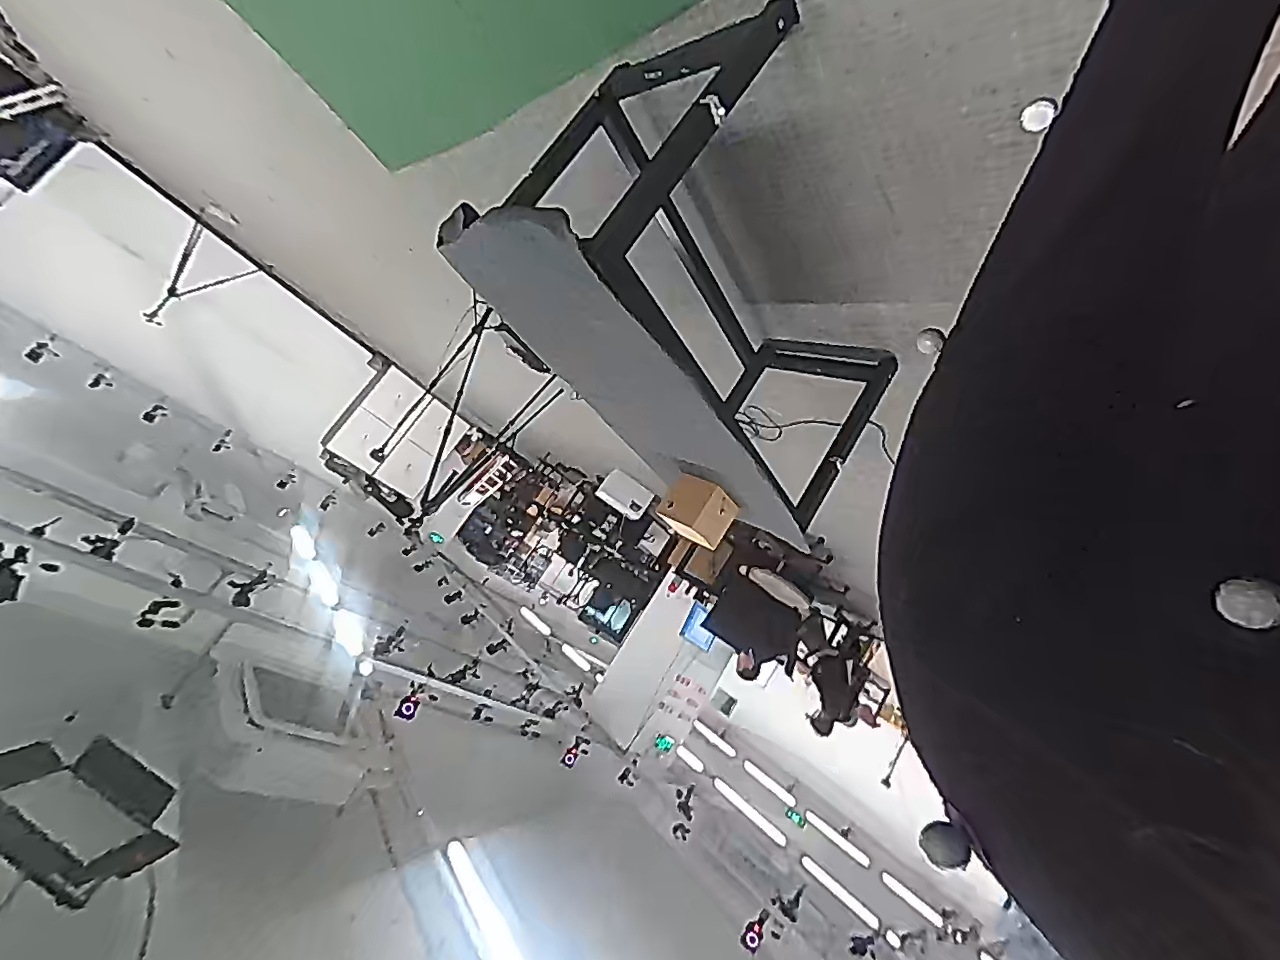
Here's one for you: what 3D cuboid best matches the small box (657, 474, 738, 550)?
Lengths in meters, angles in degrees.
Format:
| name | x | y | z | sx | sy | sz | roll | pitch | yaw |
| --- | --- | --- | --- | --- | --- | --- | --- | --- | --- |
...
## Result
| name | x | y | z | sx | sy | sz | roll | pitch | yaw |
| --- | --- | --- | --- | --- | --- | --- | --- | --- | --- |
| small box | 0.195 | 0.100 | 1.808 | 0.179 | 0.176 | 0.168 | 22 | 163 | 46 |
